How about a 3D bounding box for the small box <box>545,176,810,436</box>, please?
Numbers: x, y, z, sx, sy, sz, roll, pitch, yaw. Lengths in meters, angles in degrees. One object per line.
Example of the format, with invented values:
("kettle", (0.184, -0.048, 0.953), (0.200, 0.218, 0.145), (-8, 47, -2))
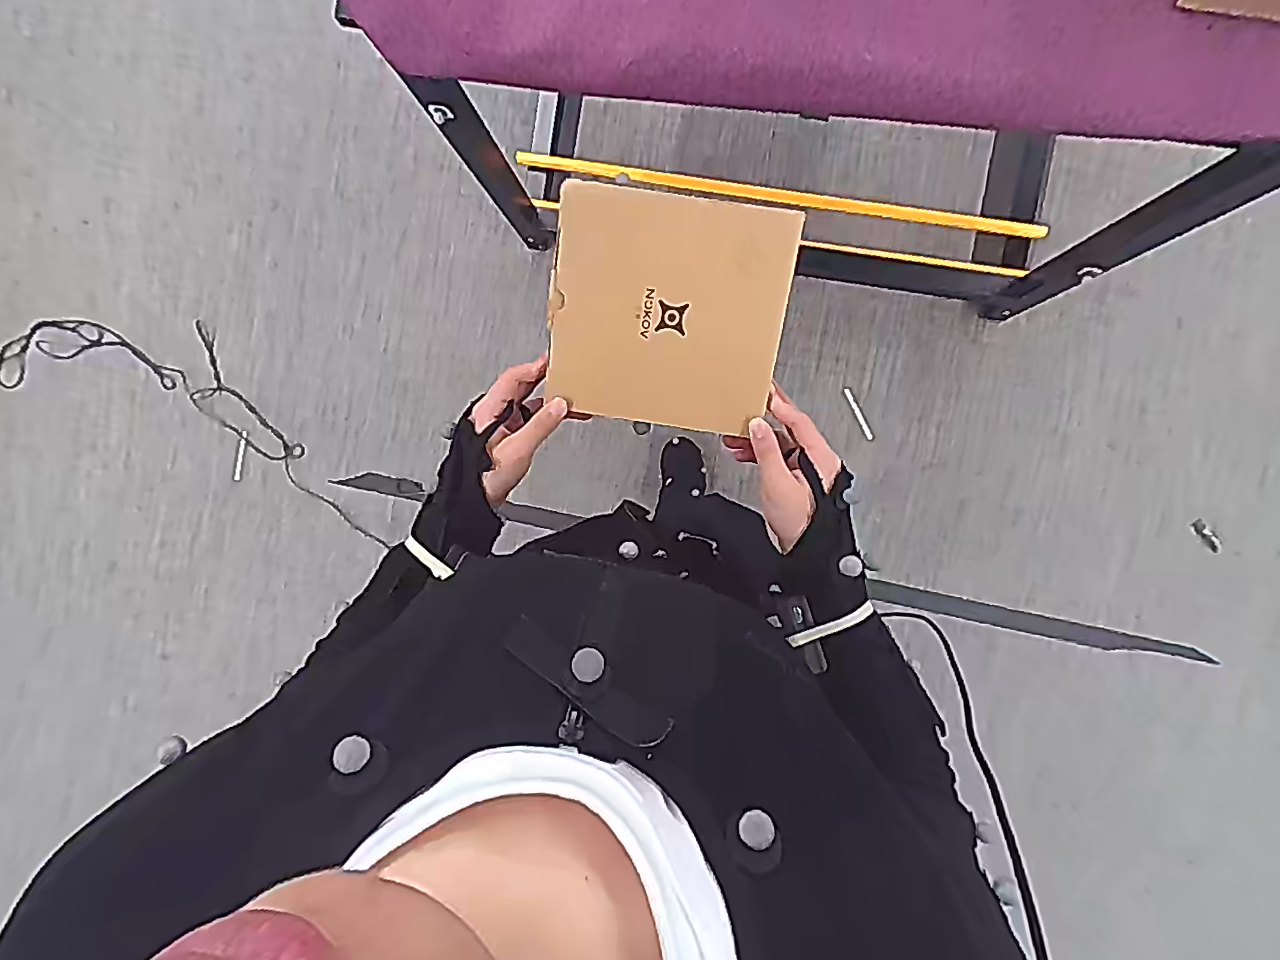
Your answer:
("small box", (0.027, -0.145, 0.474), (0.179, 0.176, 0.168), (8, 106, 2))
